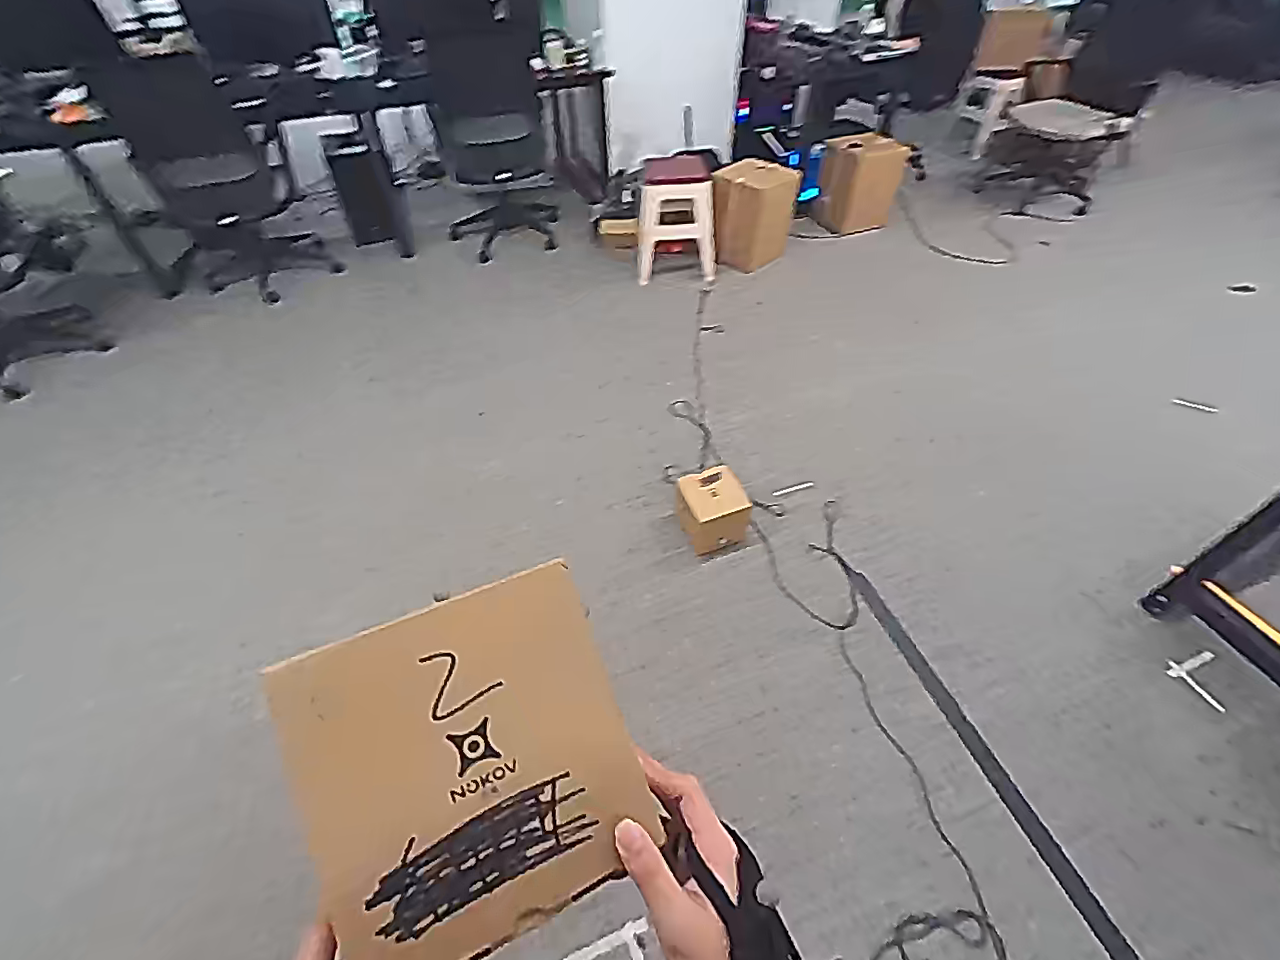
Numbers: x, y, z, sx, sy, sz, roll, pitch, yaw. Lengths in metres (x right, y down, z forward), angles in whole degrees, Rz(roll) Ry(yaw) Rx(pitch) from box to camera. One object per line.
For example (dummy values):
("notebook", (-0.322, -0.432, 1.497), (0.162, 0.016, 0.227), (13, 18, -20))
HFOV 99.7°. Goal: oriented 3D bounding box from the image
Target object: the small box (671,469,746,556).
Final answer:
("small box", (0.199, 0.100, 1.636), (0.168, 0.176, 0.179), (-17, 50, -13))
